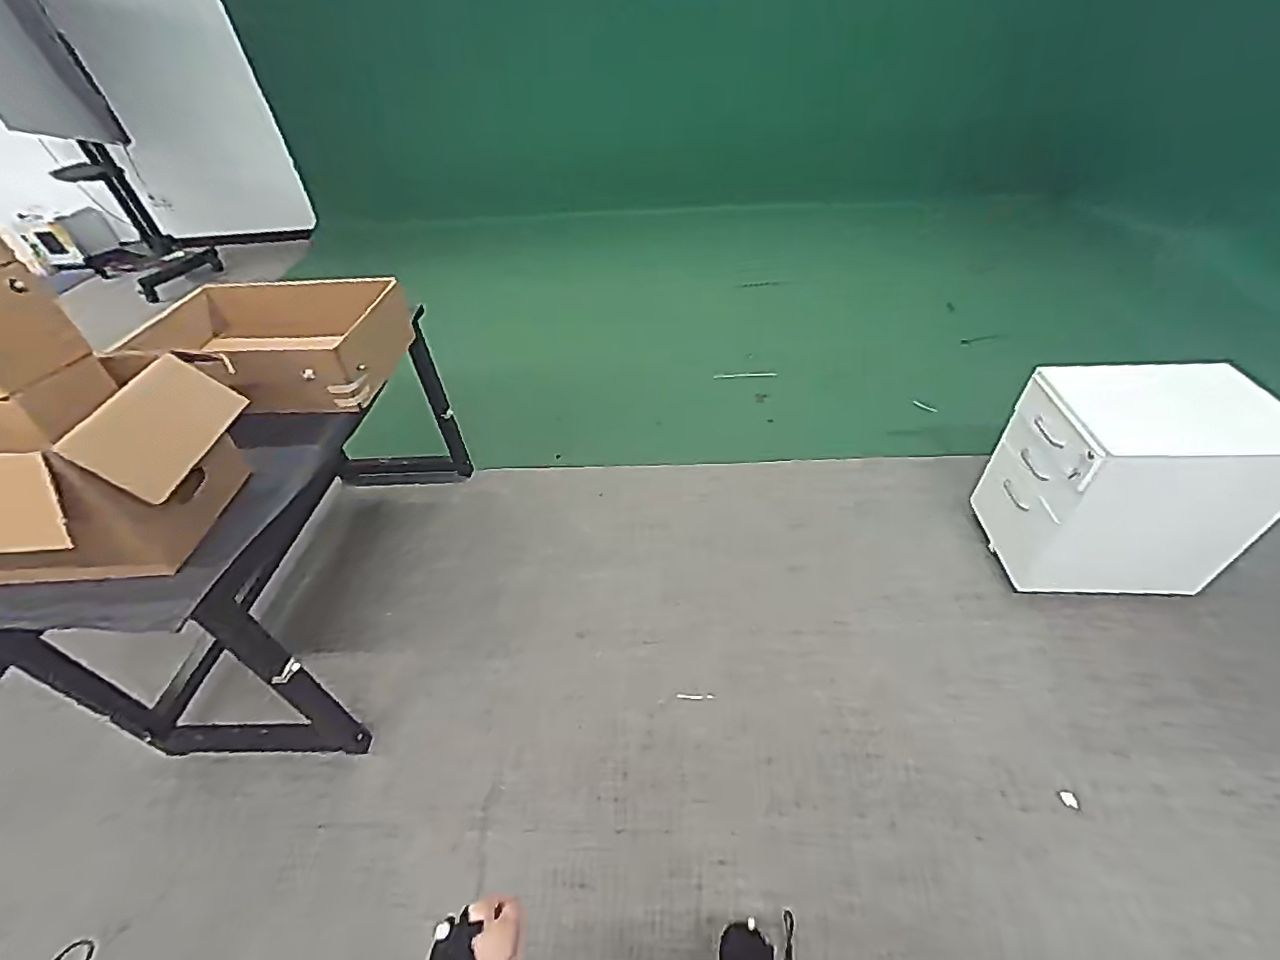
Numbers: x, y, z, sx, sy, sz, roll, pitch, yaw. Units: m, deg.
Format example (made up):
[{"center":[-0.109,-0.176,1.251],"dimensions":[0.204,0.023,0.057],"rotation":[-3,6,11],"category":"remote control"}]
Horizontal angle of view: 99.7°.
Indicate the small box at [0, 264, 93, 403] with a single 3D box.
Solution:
[{"center":[-1.081,-0.233,0.882],"dimensions":[0.168,0.176,0.179],"rotation":[-3,38,5],"category":"small box"}]
